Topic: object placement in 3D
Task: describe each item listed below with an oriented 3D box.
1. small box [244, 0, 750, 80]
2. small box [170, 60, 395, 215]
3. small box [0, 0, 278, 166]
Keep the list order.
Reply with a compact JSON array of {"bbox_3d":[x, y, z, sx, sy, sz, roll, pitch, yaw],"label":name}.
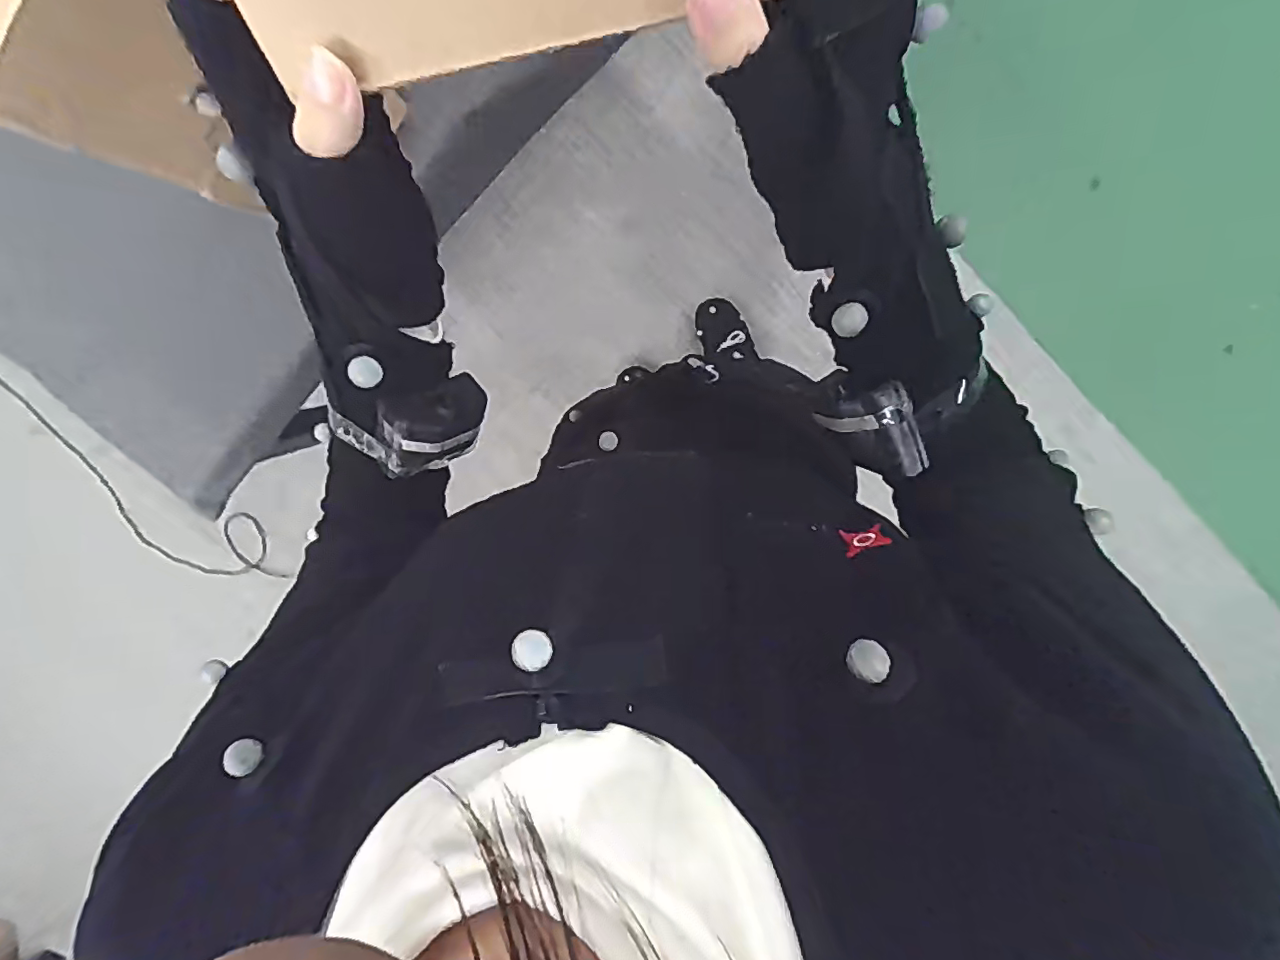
[{"bbox_3d":[-0.051,-0.257,0.160,0.168,0.176,0.179,-6,140,6],"label":"small box"},{"bbox_3d":[-0.381,-0.395,0.527,0.168,0.176,0.179,43,104,-6],"label":"small box"},{"bbox_3d":[-0.398,-0.358,0.367,0.179,0.176,0.168,44,104,-7],"label":"small box"}]
